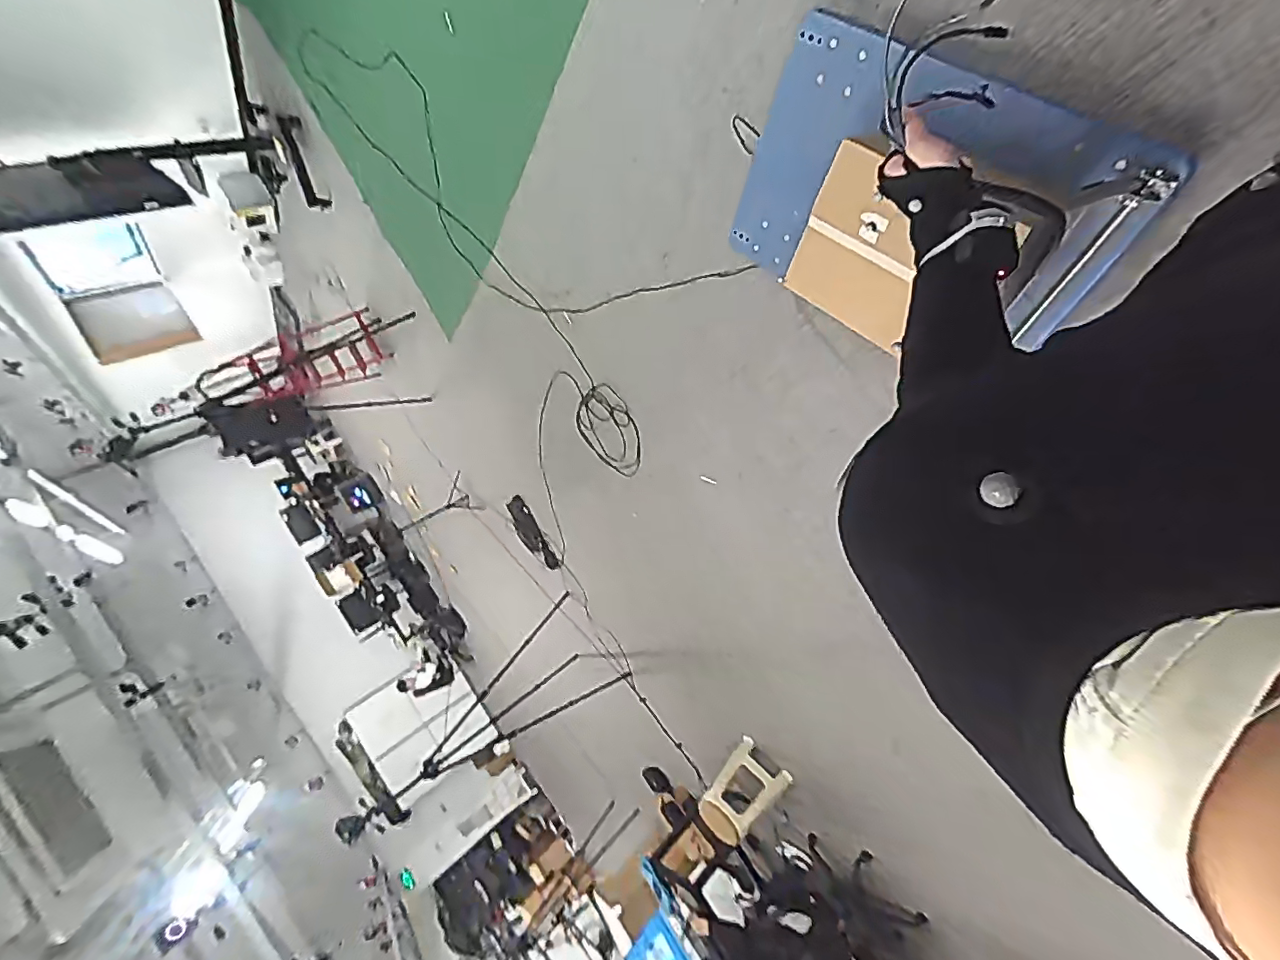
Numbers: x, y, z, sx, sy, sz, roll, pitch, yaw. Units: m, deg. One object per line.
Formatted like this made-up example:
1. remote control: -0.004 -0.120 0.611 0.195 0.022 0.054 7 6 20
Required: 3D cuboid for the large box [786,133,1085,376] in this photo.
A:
1. large box: 0.608 -0.494 1.160 0.408 0.320 0.320 44 143 23
